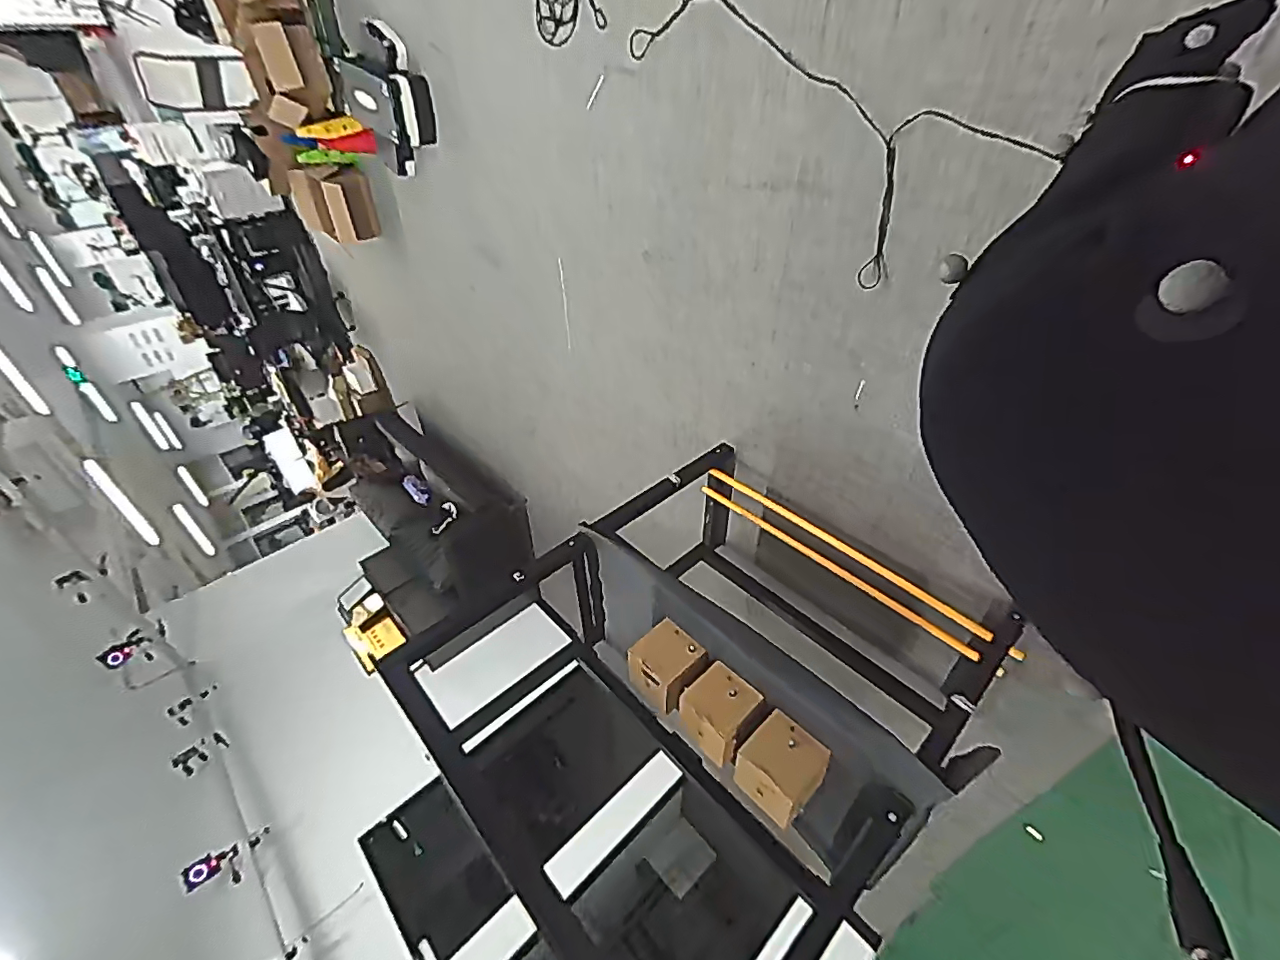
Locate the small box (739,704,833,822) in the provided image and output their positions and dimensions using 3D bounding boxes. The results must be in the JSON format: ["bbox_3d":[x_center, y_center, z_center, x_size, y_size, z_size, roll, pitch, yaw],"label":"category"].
[{"bbox_3d":[0.375,0.723,1.393,0.168,0.176,0.179,32,140,37],"label":"small box"}]
